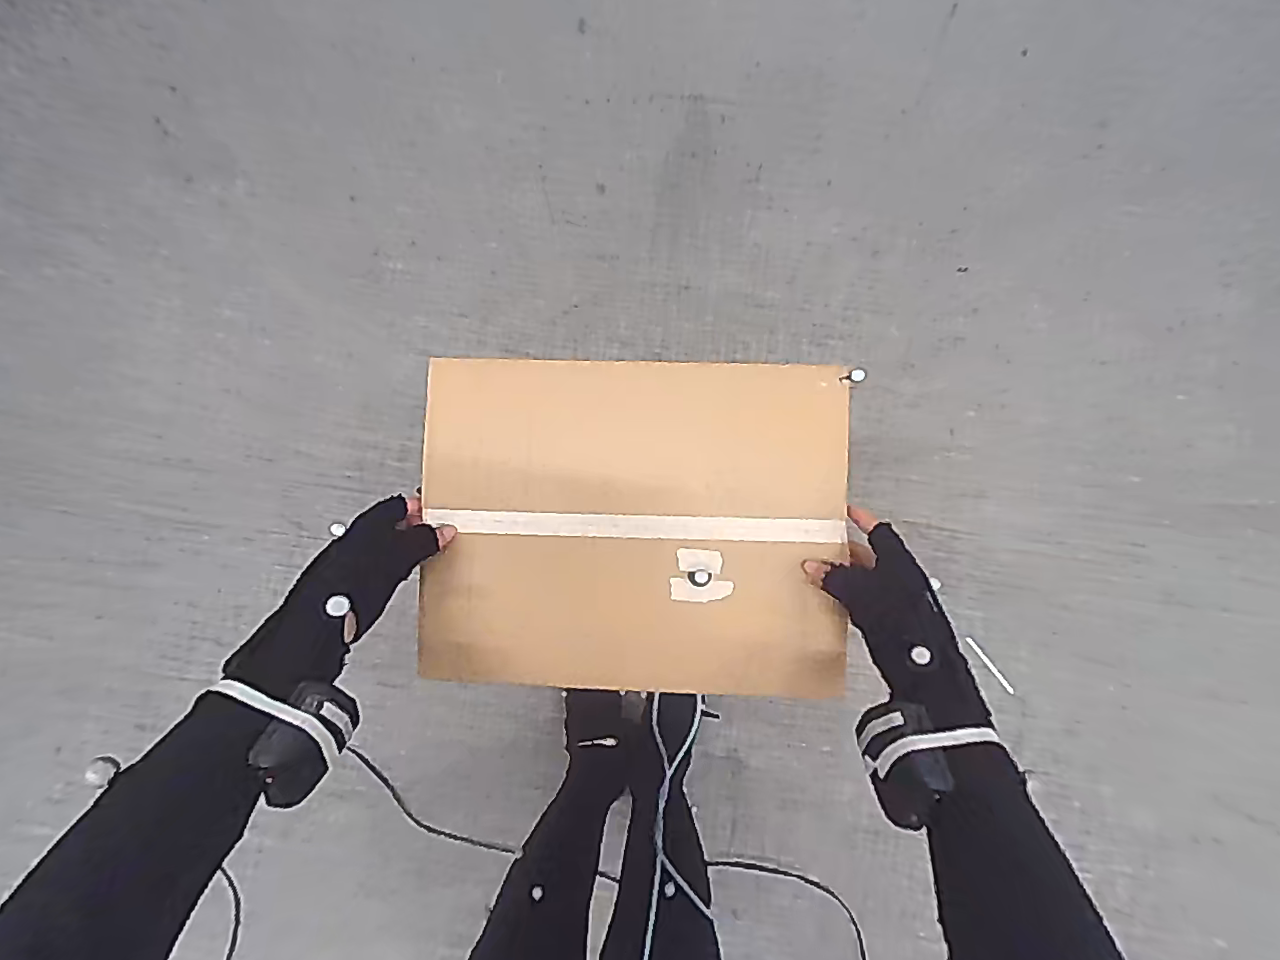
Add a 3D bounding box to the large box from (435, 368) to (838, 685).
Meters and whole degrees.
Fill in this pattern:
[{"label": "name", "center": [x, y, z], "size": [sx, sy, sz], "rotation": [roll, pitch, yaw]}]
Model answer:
[{"label": "large box", "center": [0.000, 0.051, 0.686], "size": [0.408, 0.320, 0.320], "rotation": [2, 88, 2]}]
